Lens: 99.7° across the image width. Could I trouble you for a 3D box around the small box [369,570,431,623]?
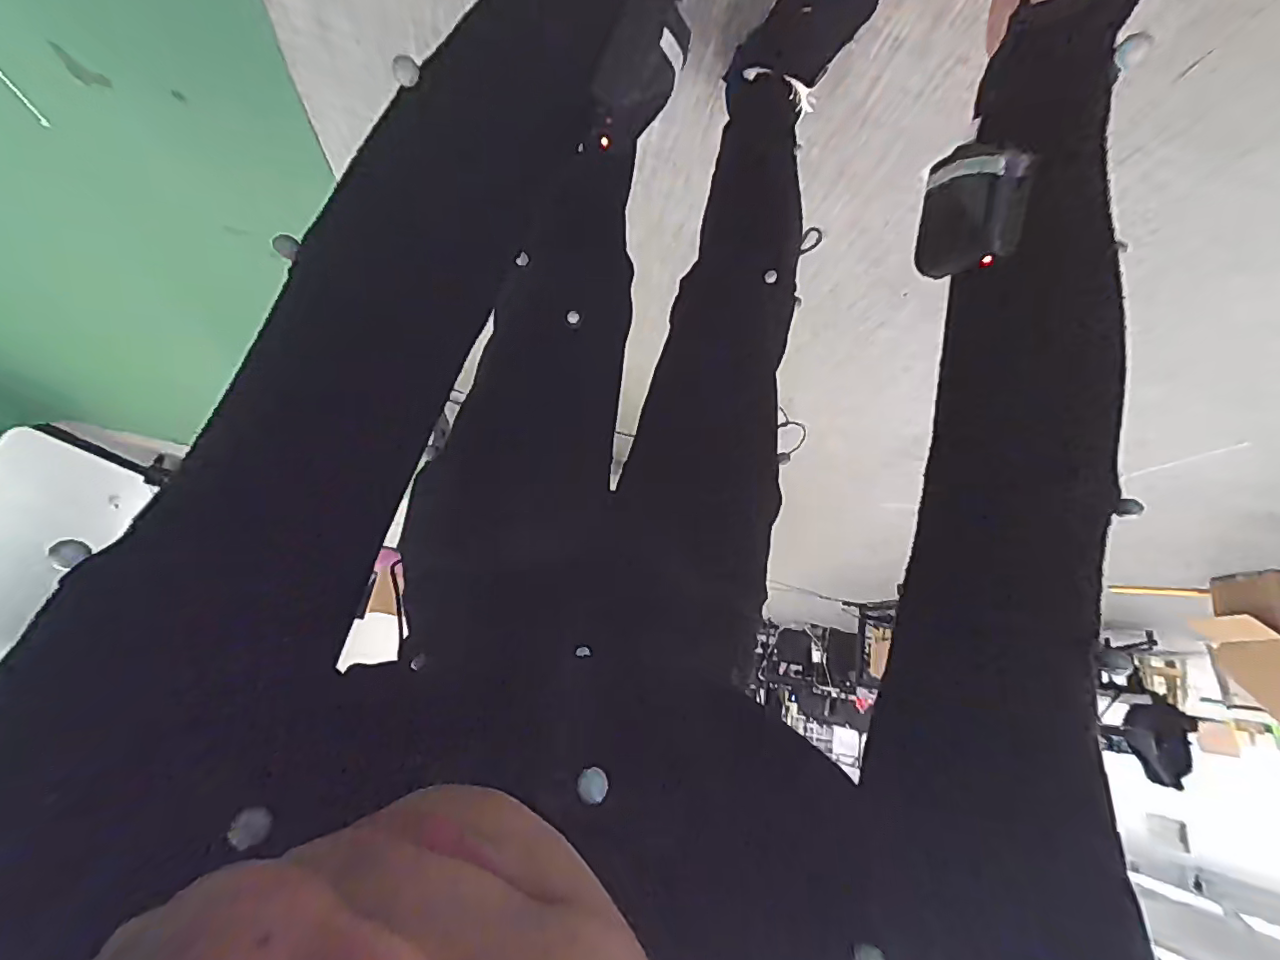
[{"bbox_3d":[-0.901,0.439,2.041,0.168,0.176,0.179,14,163,-14],"label":"small box"}]
